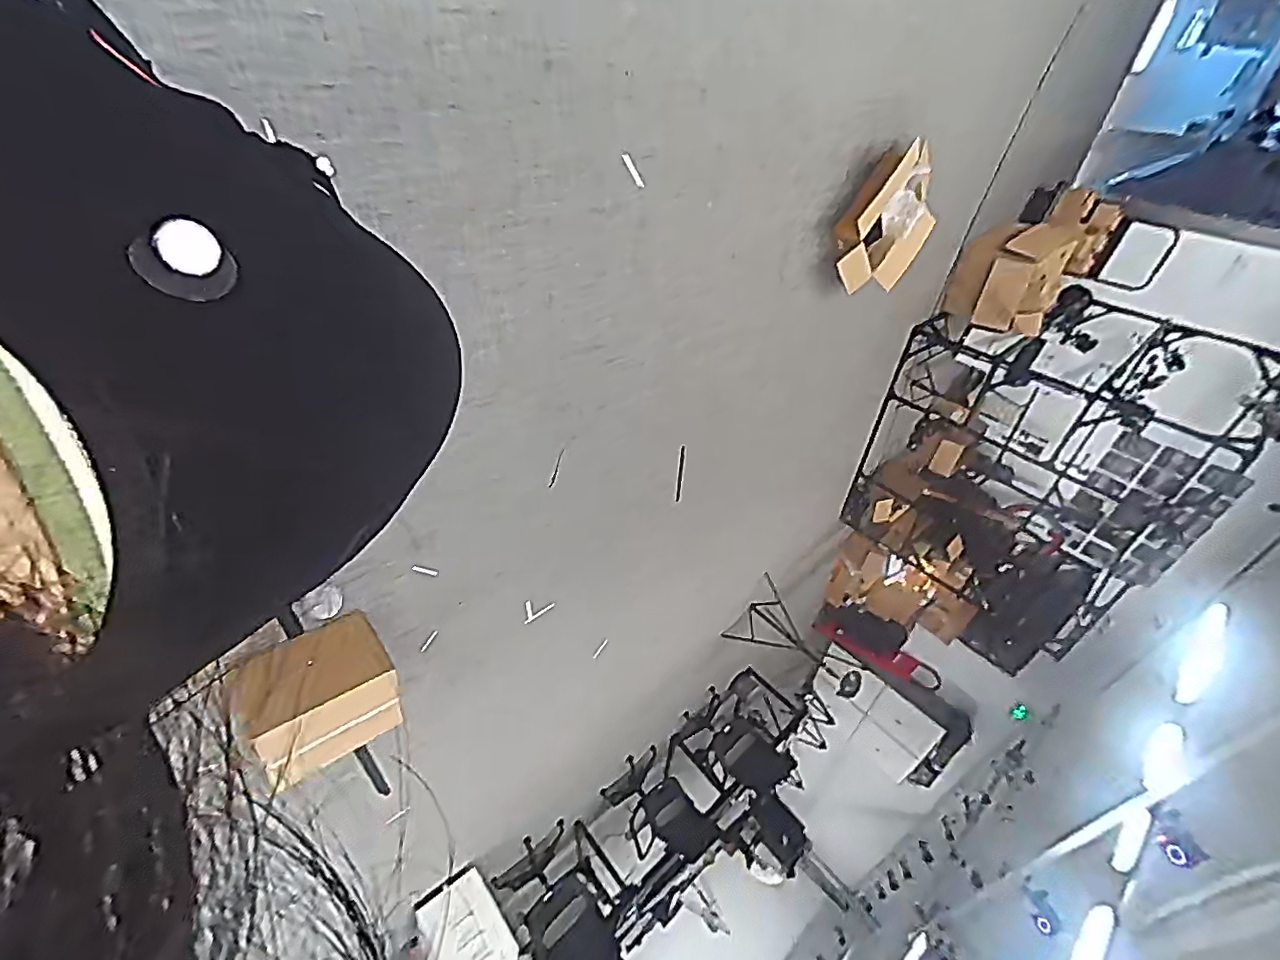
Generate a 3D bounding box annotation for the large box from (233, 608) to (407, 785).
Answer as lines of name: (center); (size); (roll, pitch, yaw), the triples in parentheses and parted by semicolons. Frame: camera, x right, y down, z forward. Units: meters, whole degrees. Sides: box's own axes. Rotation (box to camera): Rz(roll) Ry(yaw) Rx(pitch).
large box: (-1.061, 0.709, 1.824); (0.408, 0.320, 0.320); (-23, 136, -38)
